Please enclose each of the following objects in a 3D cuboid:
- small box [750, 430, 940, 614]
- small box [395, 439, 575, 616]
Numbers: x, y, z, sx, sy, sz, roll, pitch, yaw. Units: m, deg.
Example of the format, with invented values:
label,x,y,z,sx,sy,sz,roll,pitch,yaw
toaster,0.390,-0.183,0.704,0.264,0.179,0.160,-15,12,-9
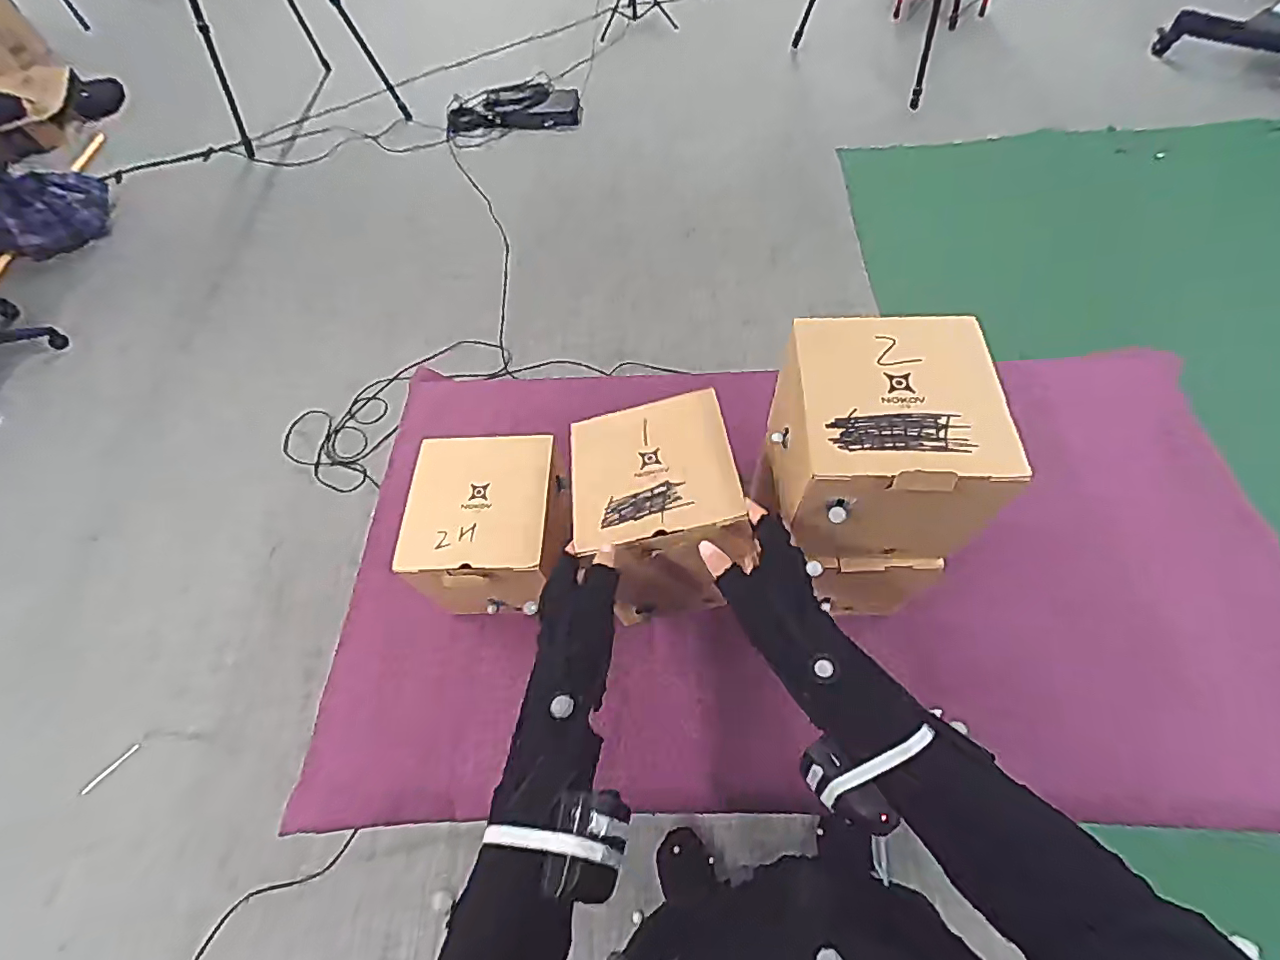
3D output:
label,x,y,z,sx,sy,sz,roll,pitch,yaw
small box,0.233,0.057,0.669,0.168,0.176,0.179,-2,61,4
small box,-0.181,0.066,0.696,0.168,0.176,0.179,-2,60,4
